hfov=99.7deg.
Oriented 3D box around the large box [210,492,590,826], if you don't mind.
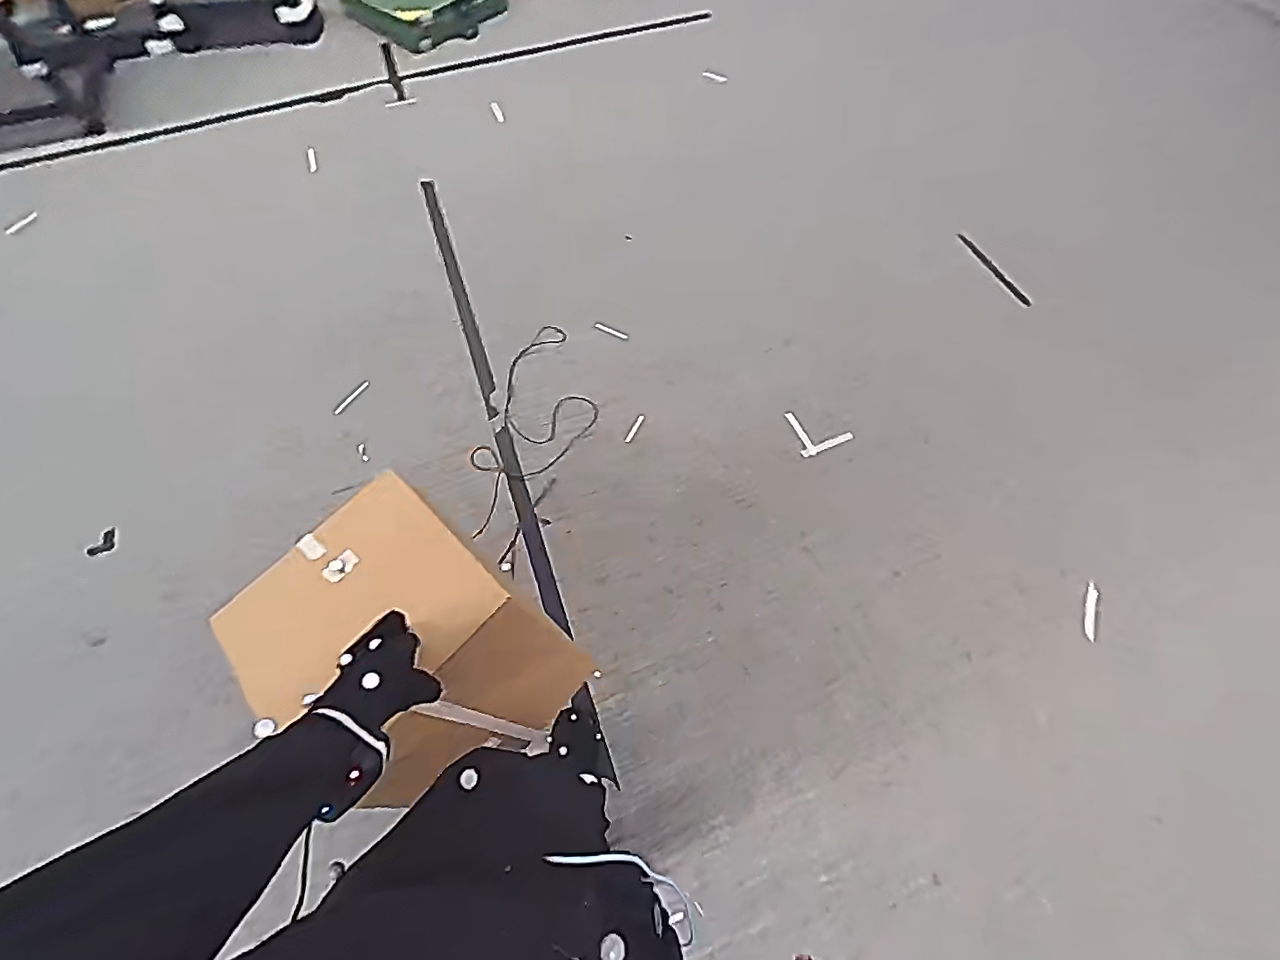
[{"bbox_3d":[-0.338,0.286,0.861,0.320,0.408,0.320,36,74,27],"label":"large box"}]
